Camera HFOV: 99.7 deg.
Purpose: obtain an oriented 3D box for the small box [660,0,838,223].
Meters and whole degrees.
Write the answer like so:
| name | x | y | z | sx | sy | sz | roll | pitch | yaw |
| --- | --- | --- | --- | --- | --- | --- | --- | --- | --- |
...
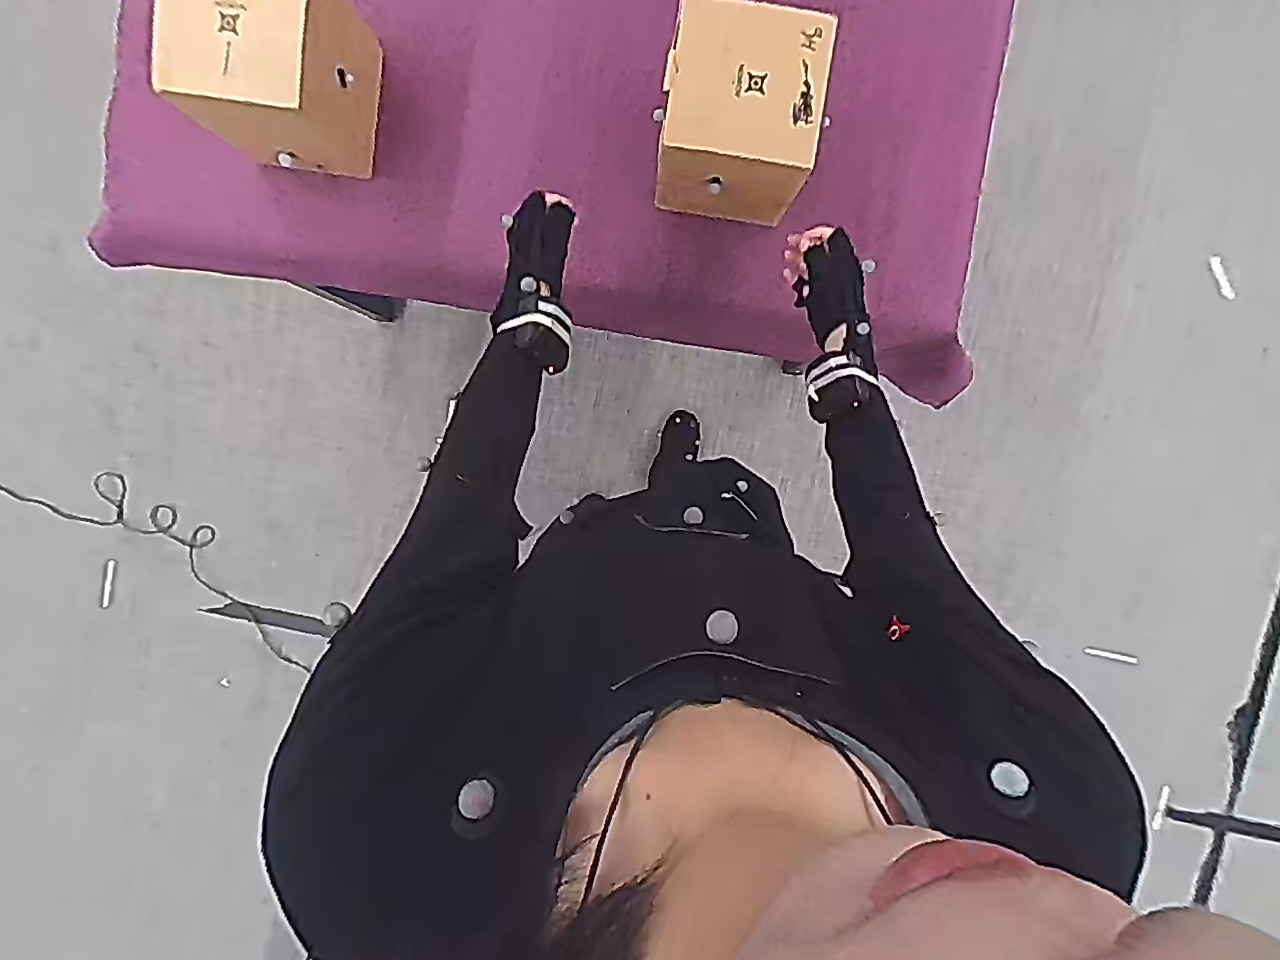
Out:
| name | x | y | z | sx | sy | sz | roll | pitch | yaw |
| --- | --- | --- | --- | --- | --- | --- | --- | --- | --- |
| small box | 0.121 | -0.445 | 0.677 | 0.179 | 0.176 | 0.168 | 9 | 93 | 0 |

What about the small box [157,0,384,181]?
| name | x | y | z | sx | sy | sz | roll | pitch | yaw |
| --- | --- | --- | --- | --- | --- | --- | --- | --- | --- |
| small box | -0.440 | -0.509 | 0.671 | 0.168 | 0.176 | 0.179 | 8 | 95 | -1 |
